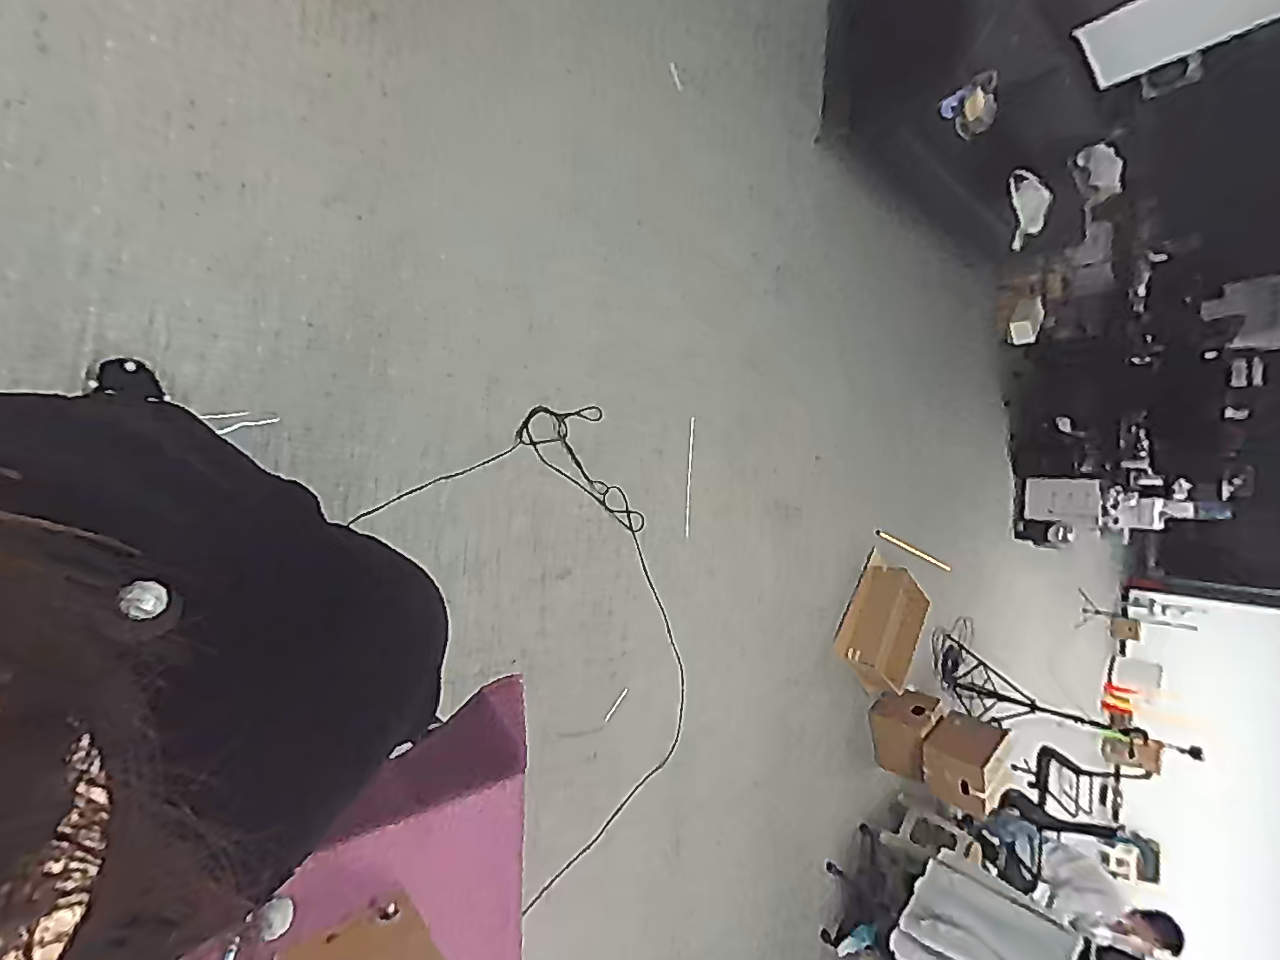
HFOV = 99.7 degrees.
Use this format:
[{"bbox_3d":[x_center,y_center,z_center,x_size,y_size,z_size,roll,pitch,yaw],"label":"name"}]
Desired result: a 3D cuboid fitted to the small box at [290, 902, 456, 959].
[{"bbox_3d":[-0.340,0.688,0.684,0.168,0.176,0.179,-1,93,-40],"label":"small box"}]
